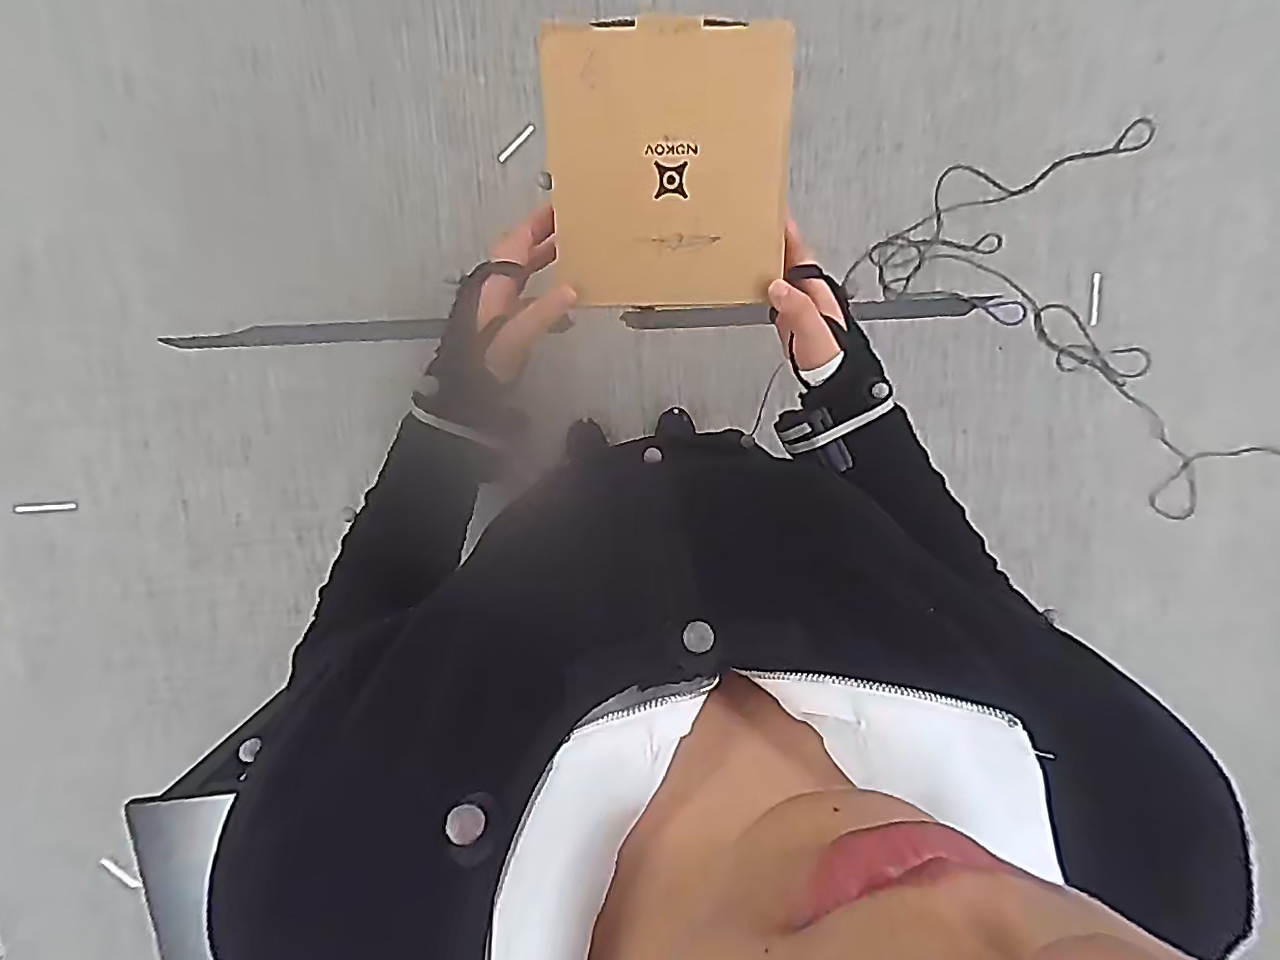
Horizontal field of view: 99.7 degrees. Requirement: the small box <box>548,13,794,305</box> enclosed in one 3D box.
[{"bbox_3d":[0.017,-0.240,0.449,0.168,0.176,0.179,-2,108,-2],"label":"small box"}]
